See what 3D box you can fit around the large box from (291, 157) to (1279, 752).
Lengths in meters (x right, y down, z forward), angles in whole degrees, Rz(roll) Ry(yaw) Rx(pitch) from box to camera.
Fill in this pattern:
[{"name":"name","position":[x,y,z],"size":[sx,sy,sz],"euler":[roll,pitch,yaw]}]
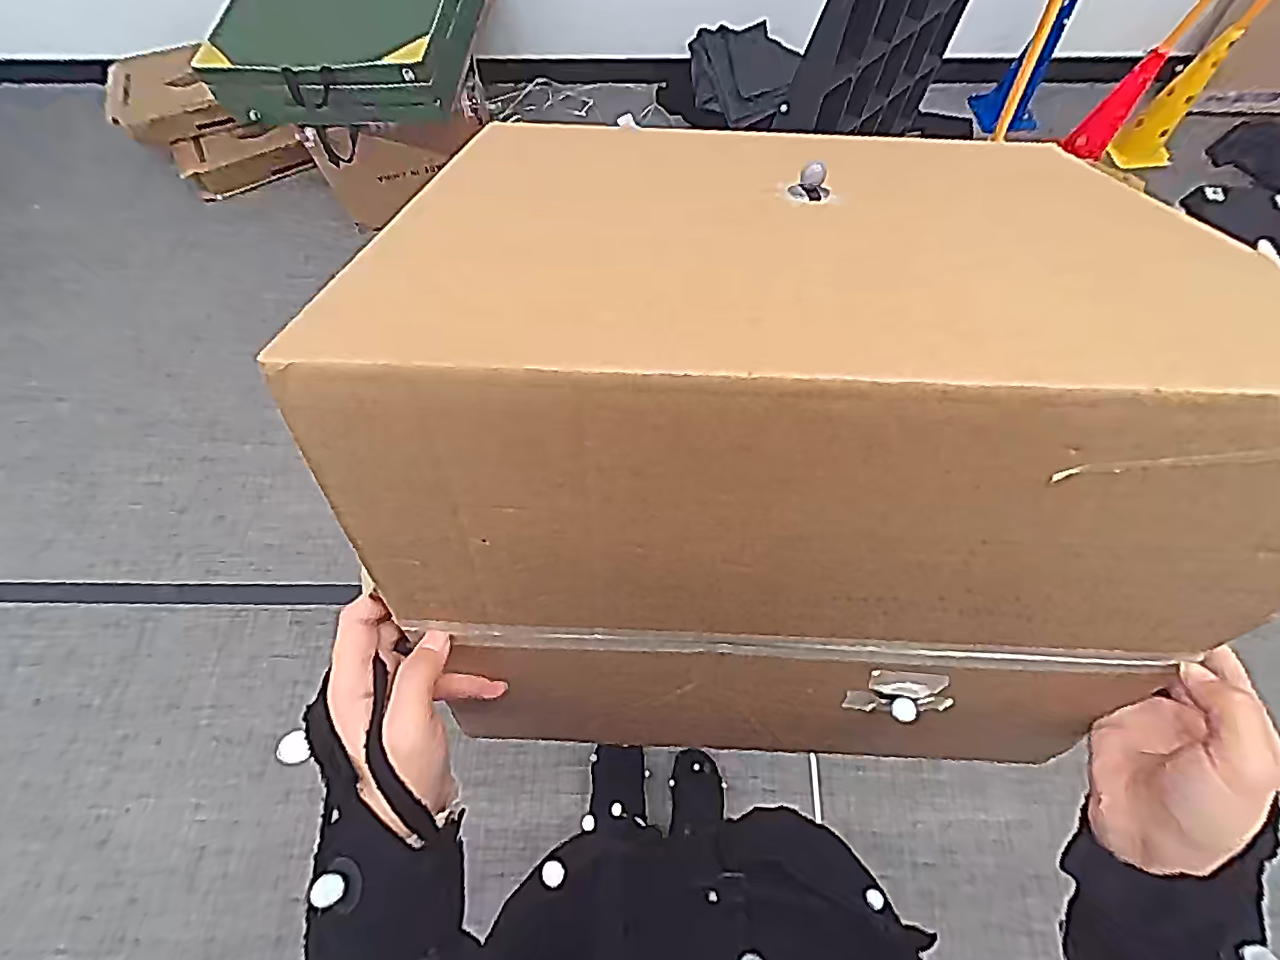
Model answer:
[{"name":"large box","position":[0.078,-0.022,0.390],"size":[0.408,0.320,0.320],"euler":[1,46,1]}]
